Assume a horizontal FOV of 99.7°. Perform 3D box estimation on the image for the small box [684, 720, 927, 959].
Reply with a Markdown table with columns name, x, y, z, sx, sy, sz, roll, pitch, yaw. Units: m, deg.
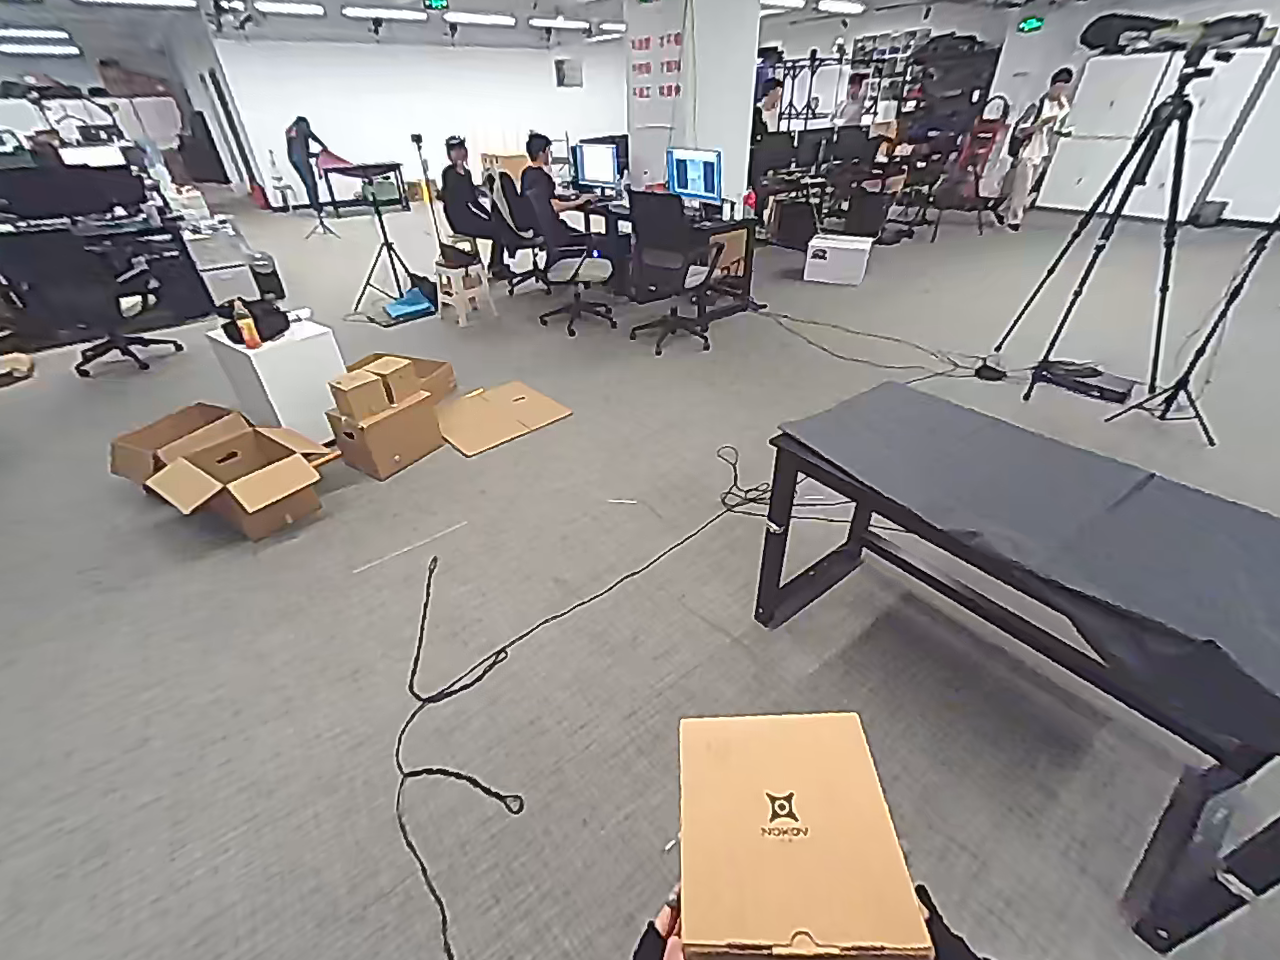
| name | x | y | z | sx | sy | sz | roll | pitch | yaw |
| --- | --- | --- | --- | --- | --- | --- | --- | --- | --- |
| small box | 0.127 | 0.344 | 0.483 | 0.168 | 0.176 | 0.179 | -5 | 32 | 6 |
